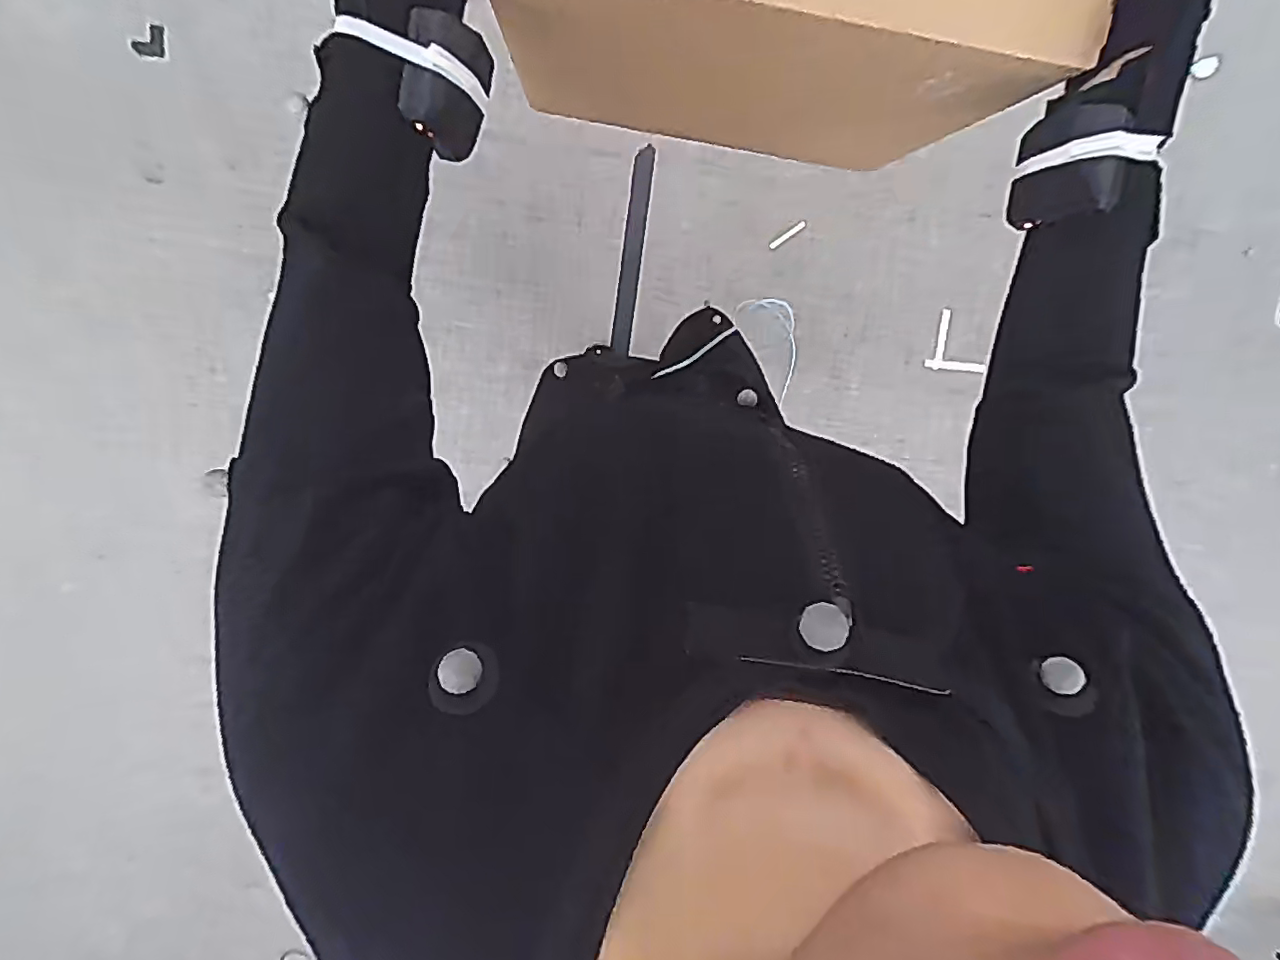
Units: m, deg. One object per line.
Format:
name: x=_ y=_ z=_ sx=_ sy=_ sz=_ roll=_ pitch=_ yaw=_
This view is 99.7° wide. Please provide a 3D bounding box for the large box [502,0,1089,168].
large box: x=0.105 y=-0.491 z=0.445 sx=0.408 sy=0.320 sz=0.320 roll=6 pitch=108 yaw=-7
